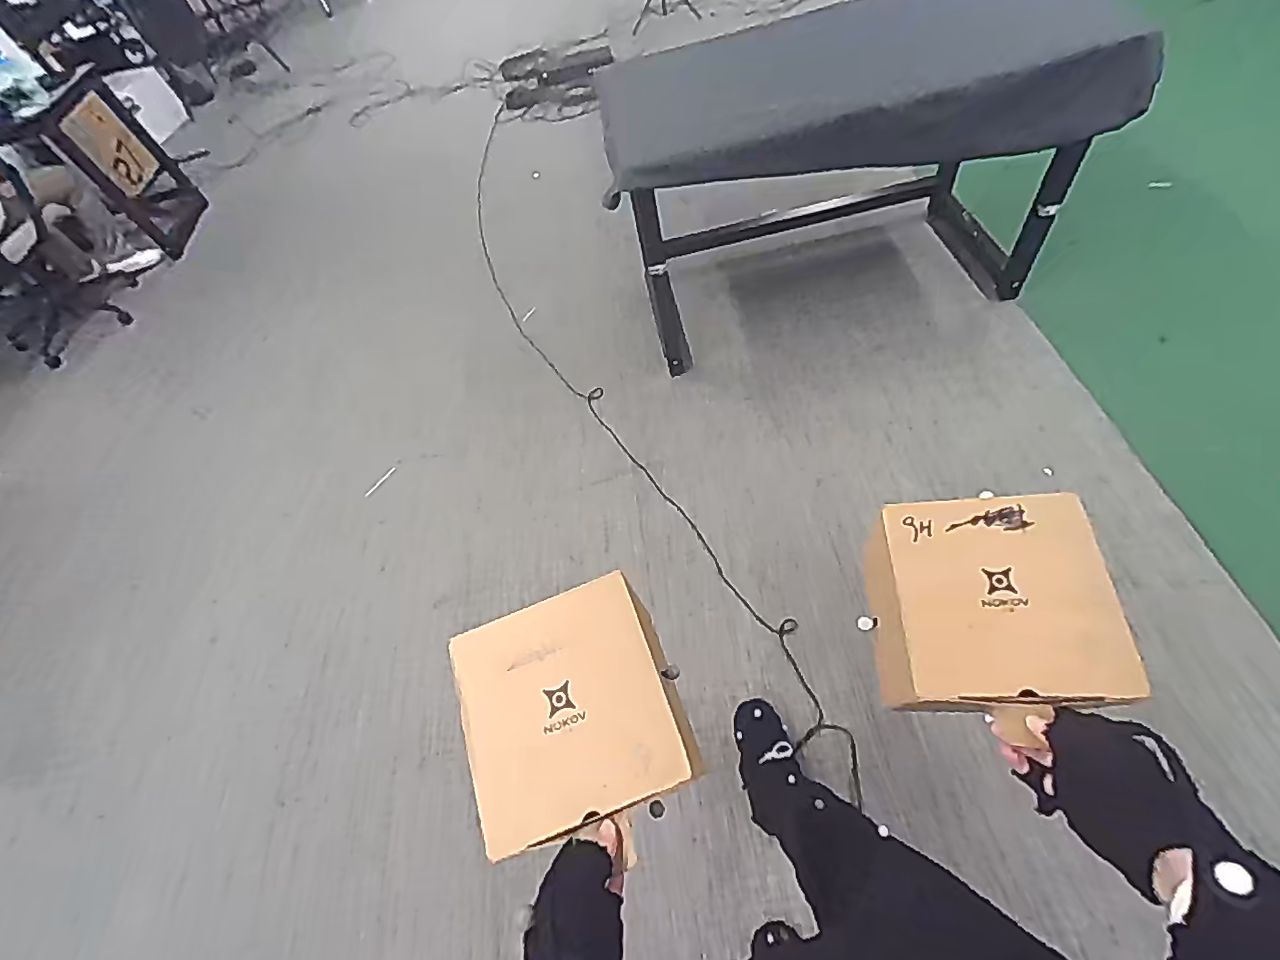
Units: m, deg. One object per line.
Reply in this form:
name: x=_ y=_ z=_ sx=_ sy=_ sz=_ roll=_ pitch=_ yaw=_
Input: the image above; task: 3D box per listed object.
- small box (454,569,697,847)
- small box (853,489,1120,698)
small box: x=-0.052 y=0.214 z=0.522 sx=0.168 sy=0.176 sz=0.179 roll=-22 pitch=62 yaw=-1
small box: x=0.319 y=0.124 z=0.544 sx=0.168 sy=0.176 sz=0.179 roll=-5 pitch=65 yaw=12
